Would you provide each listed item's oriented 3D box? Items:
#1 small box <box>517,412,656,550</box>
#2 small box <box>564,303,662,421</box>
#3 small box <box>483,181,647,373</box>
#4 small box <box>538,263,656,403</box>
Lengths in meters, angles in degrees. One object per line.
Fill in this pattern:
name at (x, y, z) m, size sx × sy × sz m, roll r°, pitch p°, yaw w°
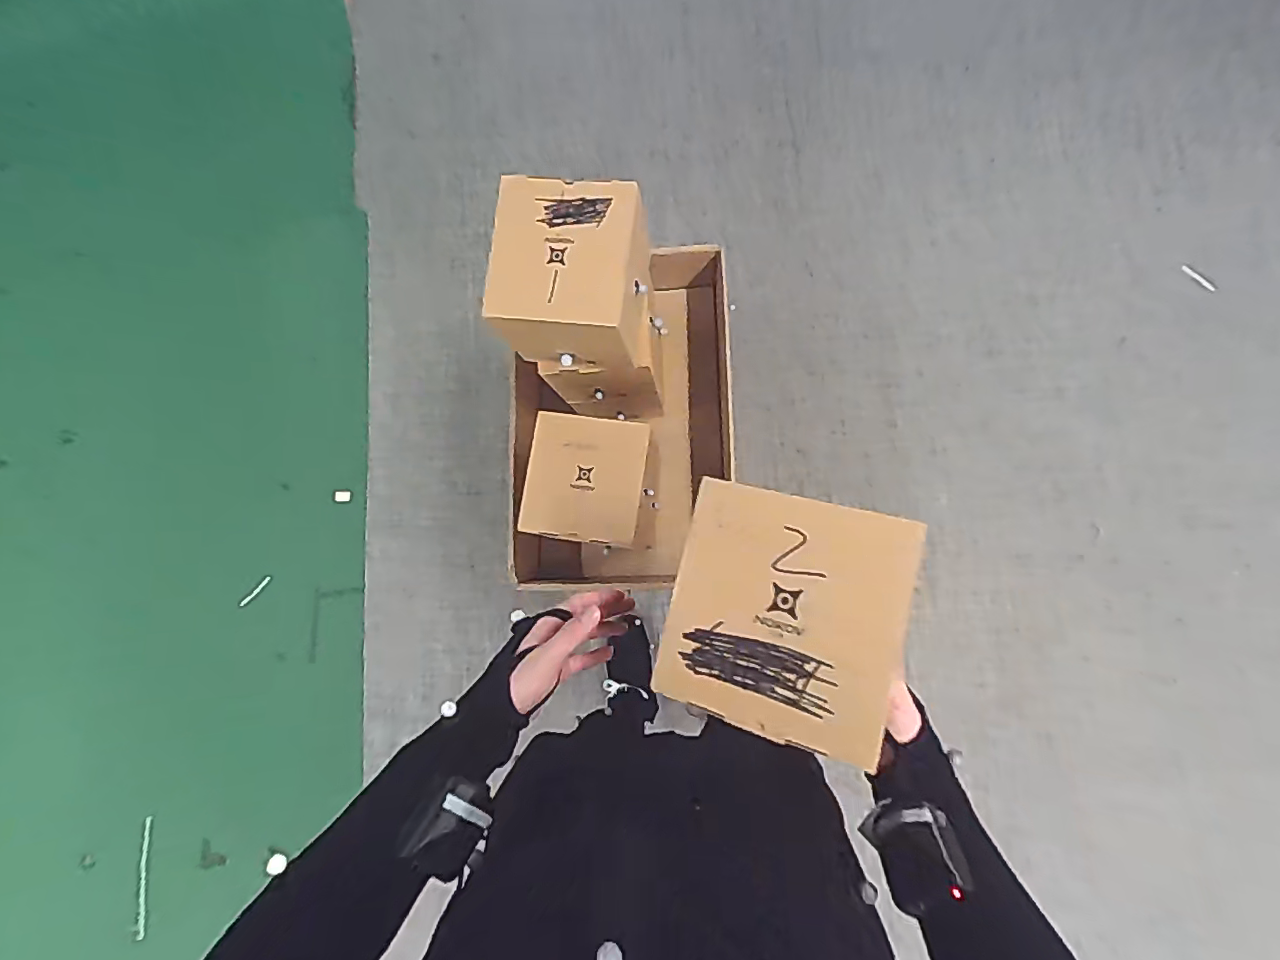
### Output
small box at (-0.071, 0.011, 0.833) m, size 0.168 × 0.176 × 0.179 m, roll 9°, pitch 82°, yaw 7°
small box at (-0.047, -0.217, 1.031) m, size 0.168 × 0.176 × 0.179 m, roll -3°, pitch 84°, yaw 6°
small box at (-0.085, -0.255, 0.709) m, size 0.168 × 0.176 × 0.179 m, roll 7°, pitch 85°, yaw 7°
small box at (-0.063, -0.232, 0.870) m, size 0.168 × 0.176 × 0.179 m, roll -3°, pitch 84°, yaw 5°
